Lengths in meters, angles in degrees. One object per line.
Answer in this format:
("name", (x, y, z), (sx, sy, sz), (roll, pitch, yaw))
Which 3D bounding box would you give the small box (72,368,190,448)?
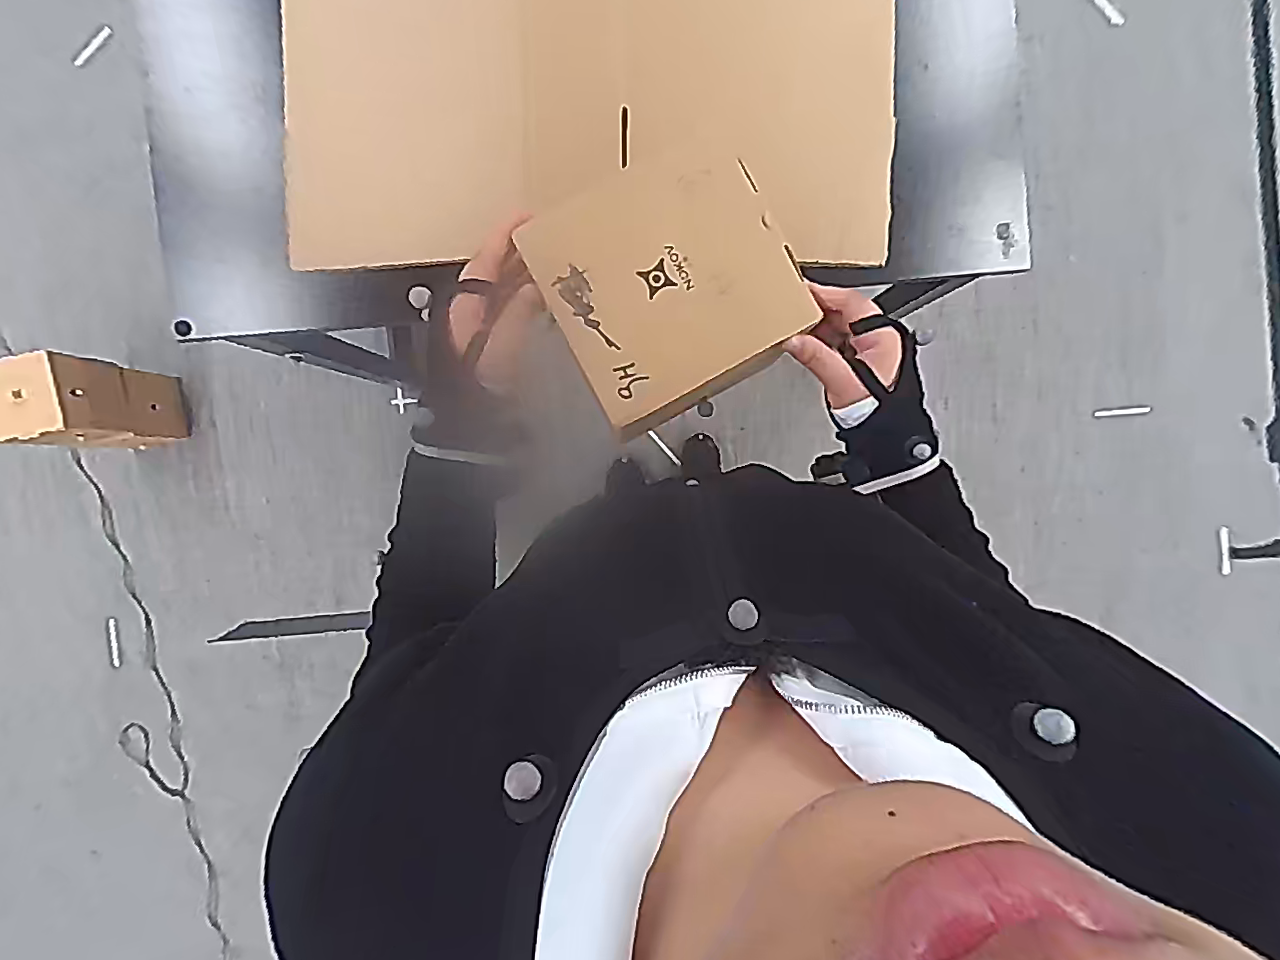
("small box", (-1.325, -0.181, 1.404), (0.168, 0.176, 0.179), (-9, 93, 0))

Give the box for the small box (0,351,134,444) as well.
("small box", (-1.325, -0.181, 1.241), (0.168, 0.176, 0.179), (-12, 92, -1))
